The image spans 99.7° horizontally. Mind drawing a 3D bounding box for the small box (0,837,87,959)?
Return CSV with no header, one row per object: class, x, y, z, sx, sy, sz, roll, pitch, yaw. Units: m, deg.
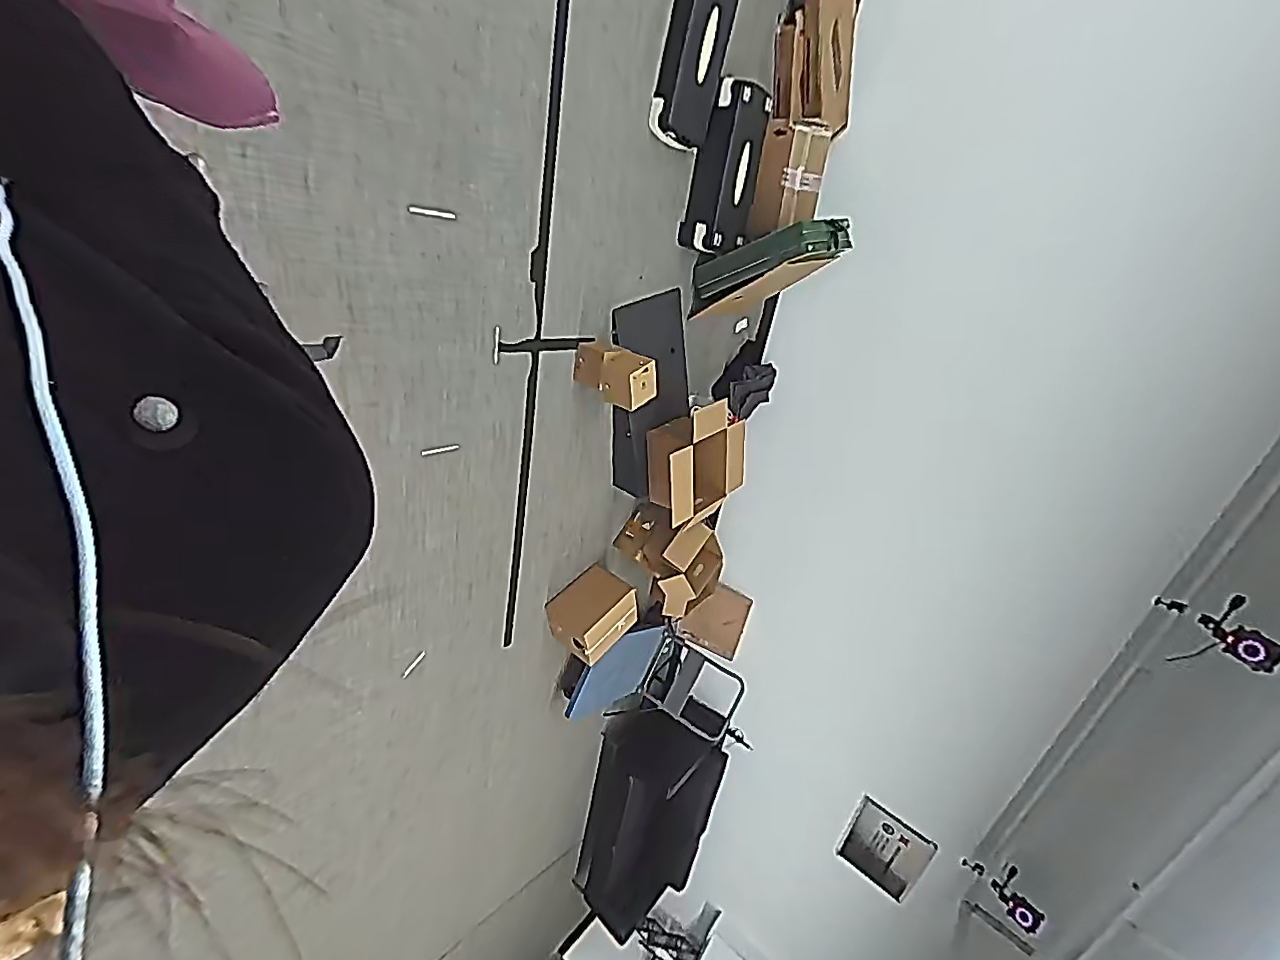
small box,-1.668,1.143,1.486,0.179,0.176,0.168,-12,123,-54
